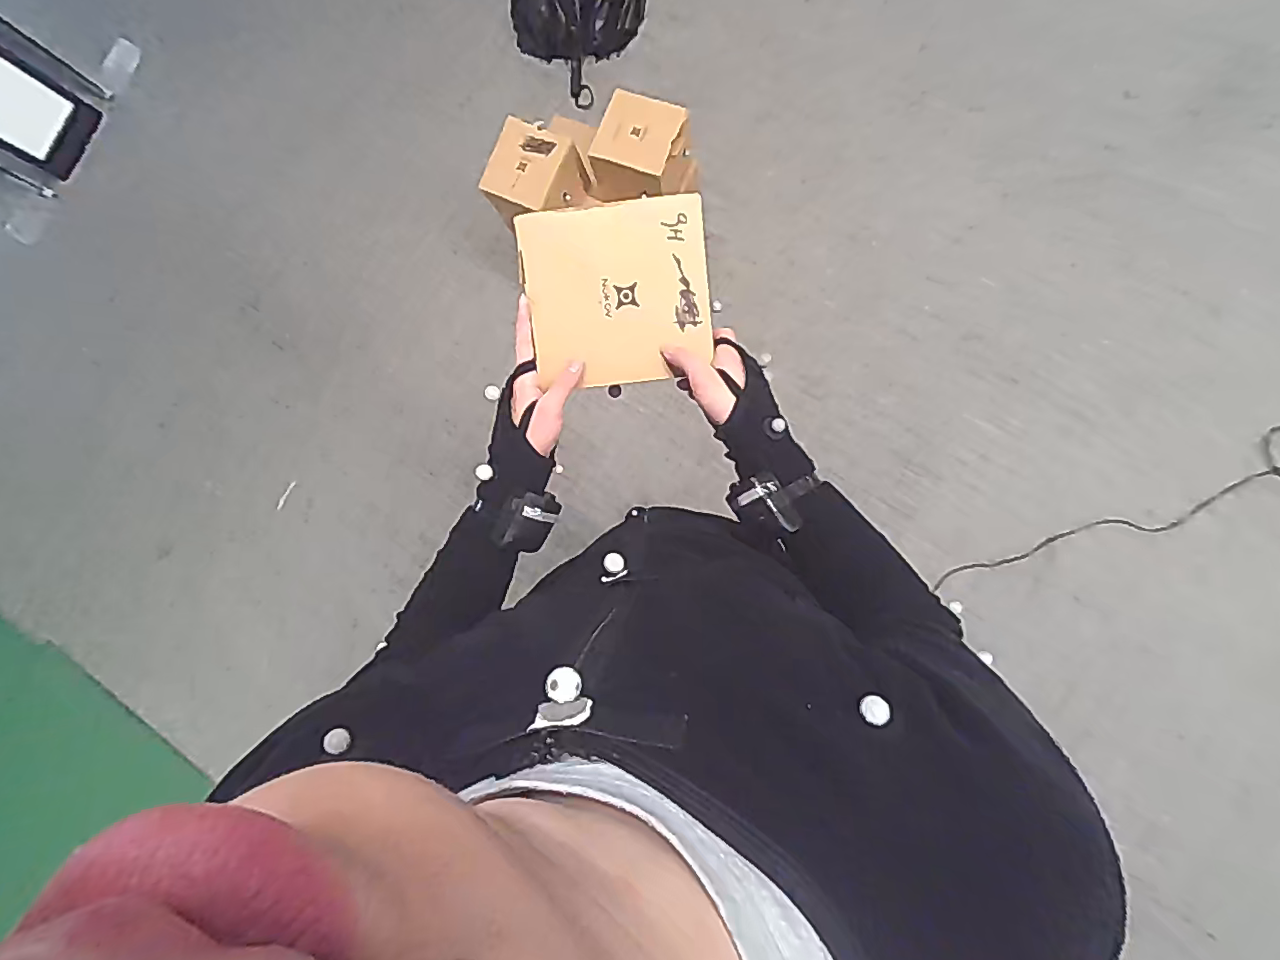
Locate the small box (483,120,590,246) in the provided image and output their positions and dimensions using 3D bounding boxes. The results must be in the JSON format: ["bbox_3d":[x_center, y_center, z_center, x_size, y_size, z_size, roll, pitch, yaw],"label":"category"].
[{"bbox_3d":[-0.235,-0.695,1.283,0.168,0.176,0.179,26,93,10],"label":"small box"}]

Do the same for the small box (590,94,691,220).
[{"bbox_3d":[0.011,-0.734,1.247,0.179,0.176,0.168,21,86,11],"label":"small box"}]
